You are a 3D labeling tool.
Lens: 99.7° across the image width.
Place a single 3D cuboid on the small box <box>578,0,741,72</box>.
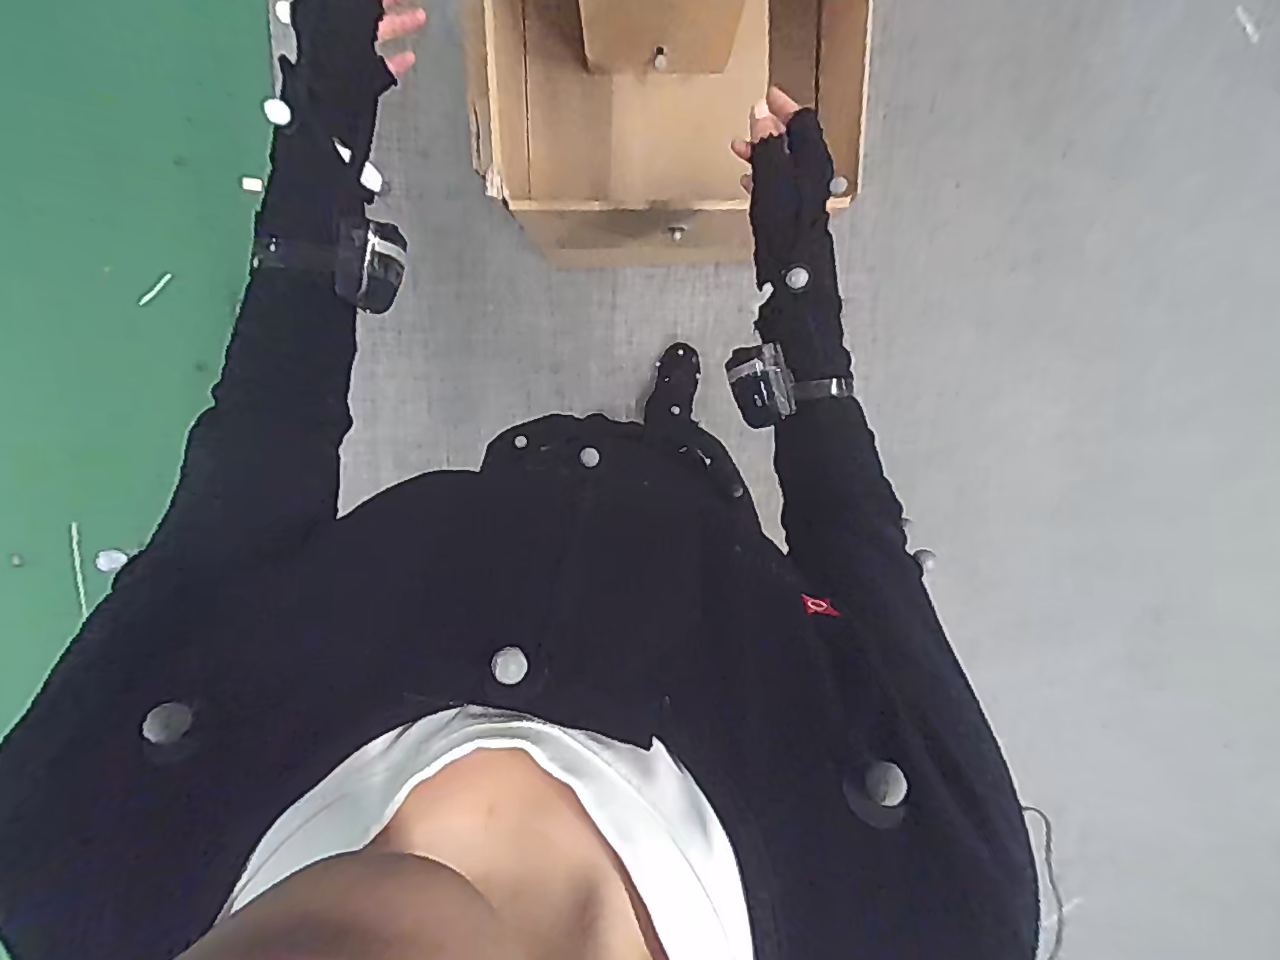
[{"bbox_3d":[0.021,-0.580,0.586,0.179,0.176,0.168,-1,97,-1],"label":"small box"}]
